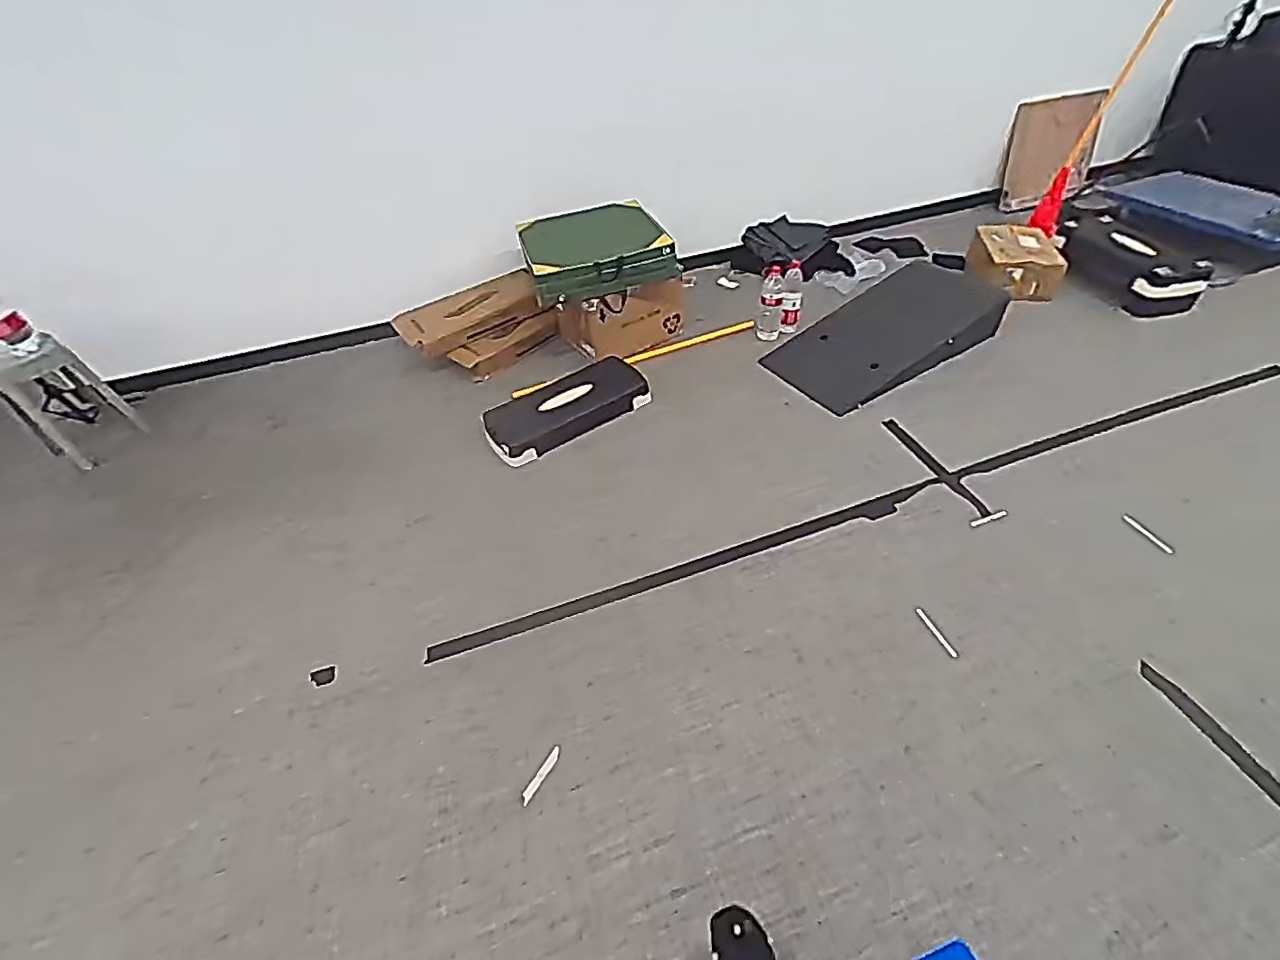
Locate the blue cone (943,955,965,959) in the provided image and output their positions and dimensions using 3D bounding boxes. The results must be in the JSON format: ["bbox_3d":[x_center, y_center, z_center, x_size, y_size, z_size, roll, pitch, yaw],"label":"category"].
[{"bbox_3d":[0.529,0.836,0.801,0.192,0.380,0.193,-16,46,-9],"label":"blue cone"}]
